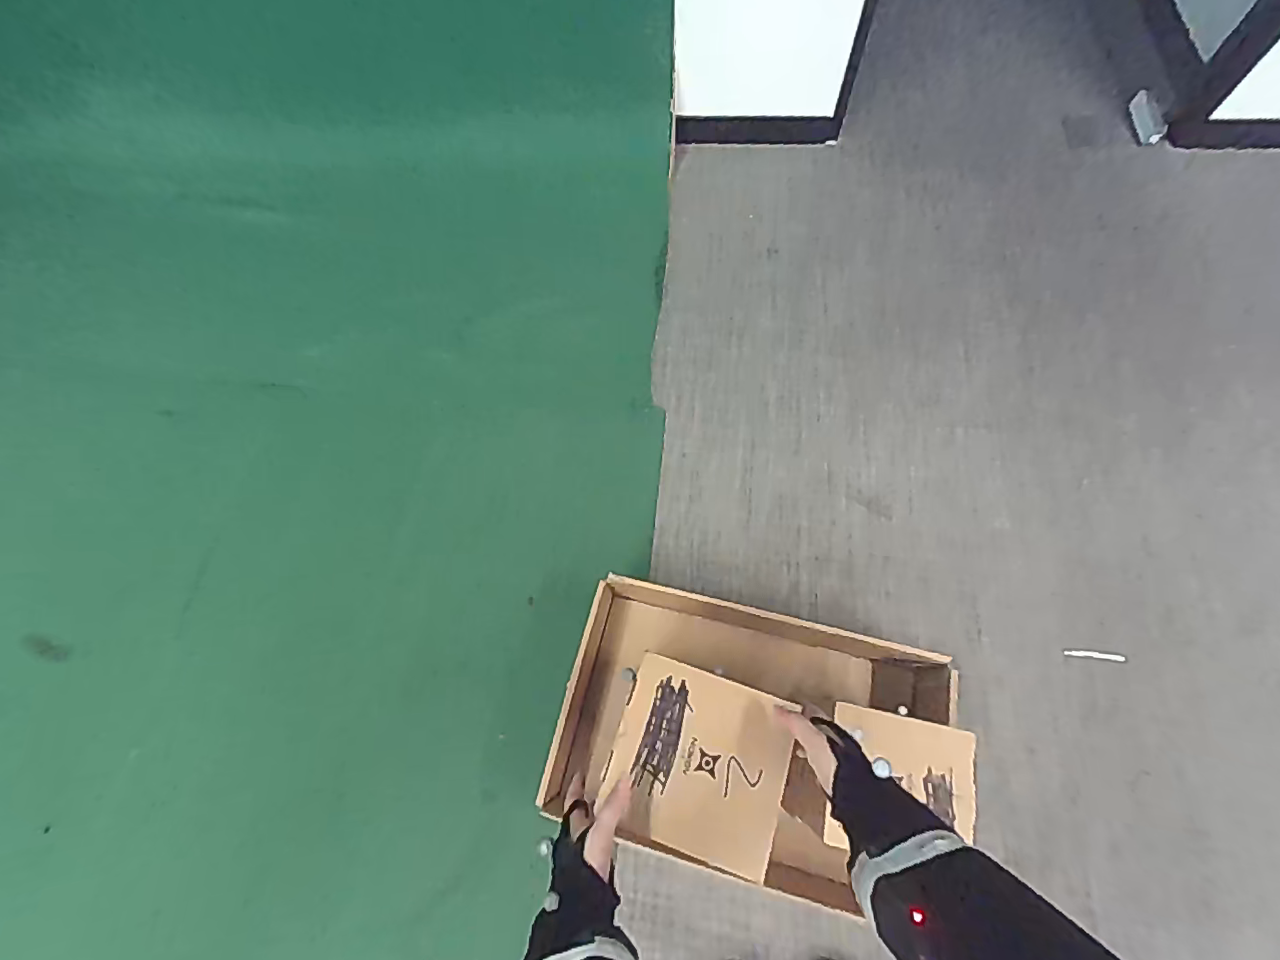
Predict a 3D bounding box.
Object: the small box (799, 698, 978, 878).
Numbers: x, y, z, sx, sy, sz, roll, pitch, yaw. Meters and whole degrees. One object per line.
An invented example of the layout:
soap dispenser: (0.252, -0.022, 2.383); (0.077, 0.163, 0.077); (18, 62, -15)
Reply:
small box: (0.328, 0.400, 0.737); (0.179, 0.176, 0.168); (10, 70, 9)

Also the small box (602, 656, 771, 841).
small box: (0.063, 0.371, 0.772); (0.179, 0.176, 0.168); (22, 71, 9)
